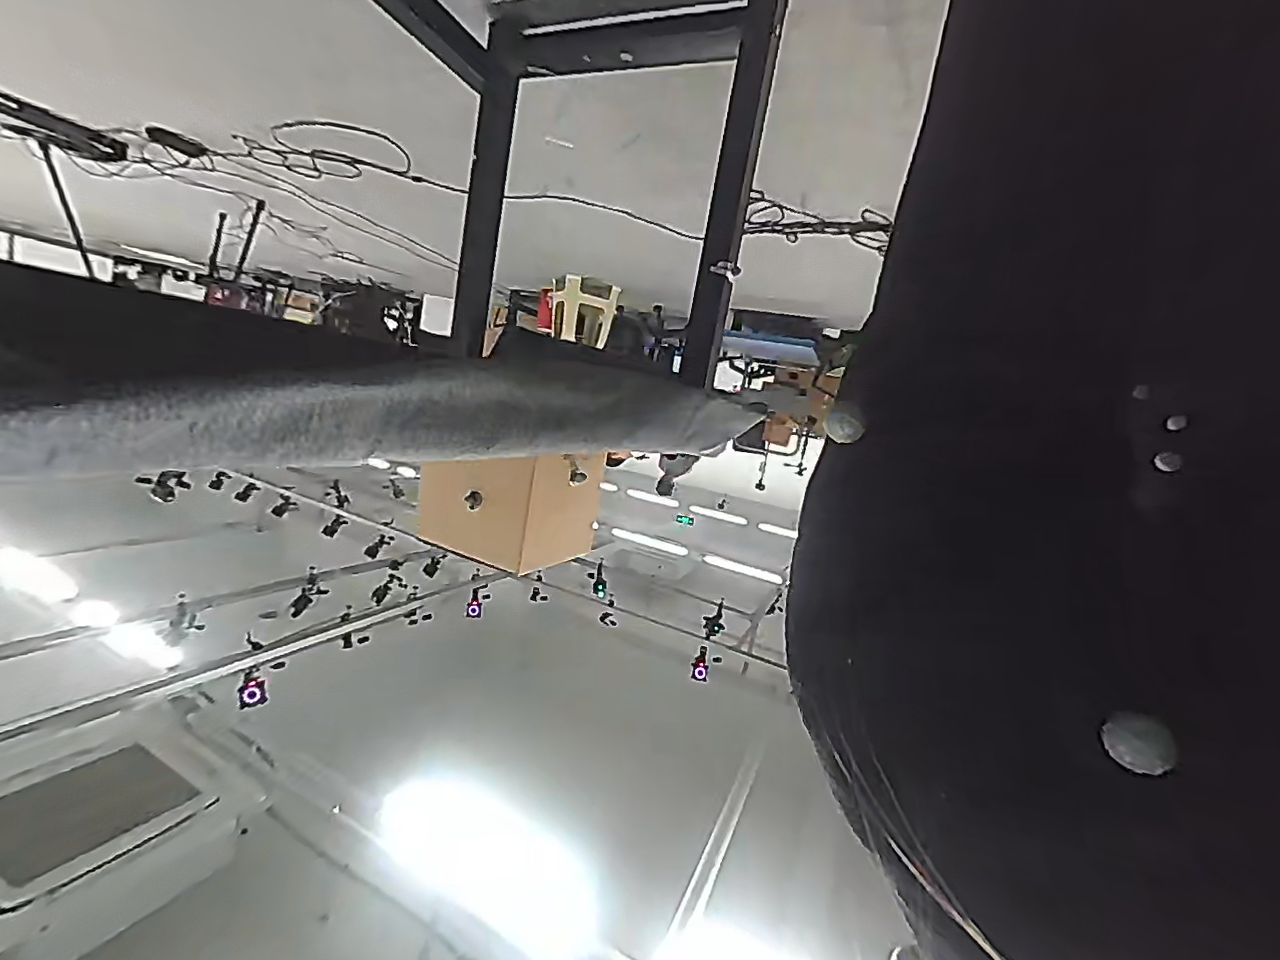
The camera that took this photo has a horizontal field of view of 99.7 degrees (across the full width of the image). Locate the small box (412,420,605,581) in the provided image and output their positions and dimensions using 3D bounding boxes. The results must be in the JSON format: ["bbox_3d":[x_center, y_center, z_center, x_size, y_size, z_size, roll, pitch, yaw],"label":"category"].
[{"bbox_3d":[-0.167,0.015,0.717,0.179,0.176,0.168,14,-172,24],"label":"small box"}]
